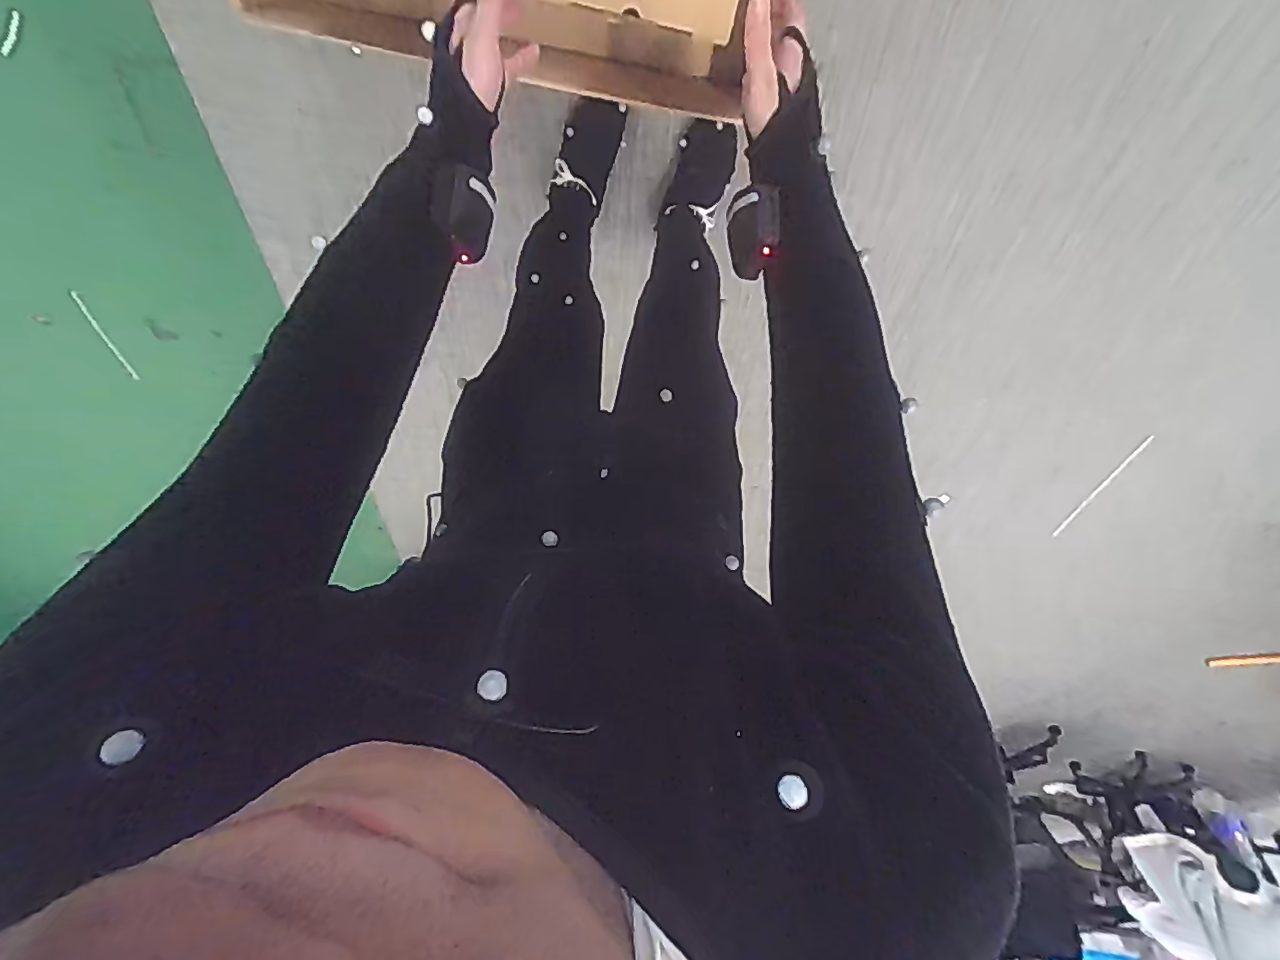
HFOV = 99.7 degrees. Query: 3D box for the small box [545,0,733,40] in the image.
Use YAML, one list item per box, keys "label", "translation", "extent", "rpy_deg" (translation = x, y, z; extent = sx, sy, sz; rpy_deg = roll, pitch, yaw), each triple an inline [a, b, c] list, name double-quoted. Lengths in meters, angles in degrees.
- label: "small box"
  translation: [0.012, -0.484, 0.422]
  extent: [0.168, 0.176, 0.179]
  rpy_deg: [10, 137, -3]
